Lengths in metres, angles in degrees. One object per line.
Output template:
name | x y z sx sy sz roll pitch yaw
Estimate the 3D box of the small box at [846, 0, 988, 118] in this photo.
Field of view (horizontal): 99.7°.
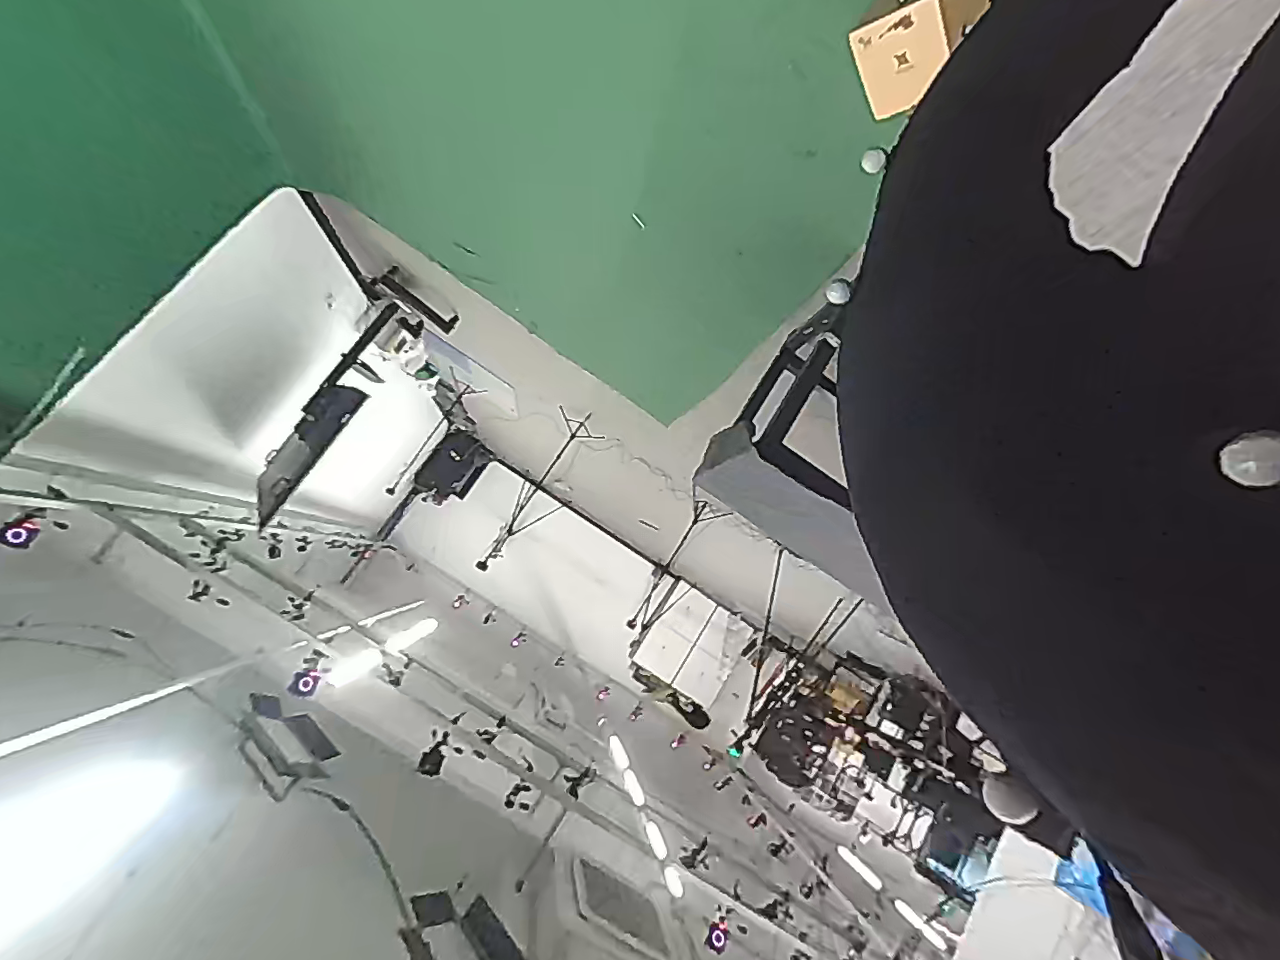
small box | 0.527 -0.840 1.019 0.168 0.176 0.179 18 161 49
